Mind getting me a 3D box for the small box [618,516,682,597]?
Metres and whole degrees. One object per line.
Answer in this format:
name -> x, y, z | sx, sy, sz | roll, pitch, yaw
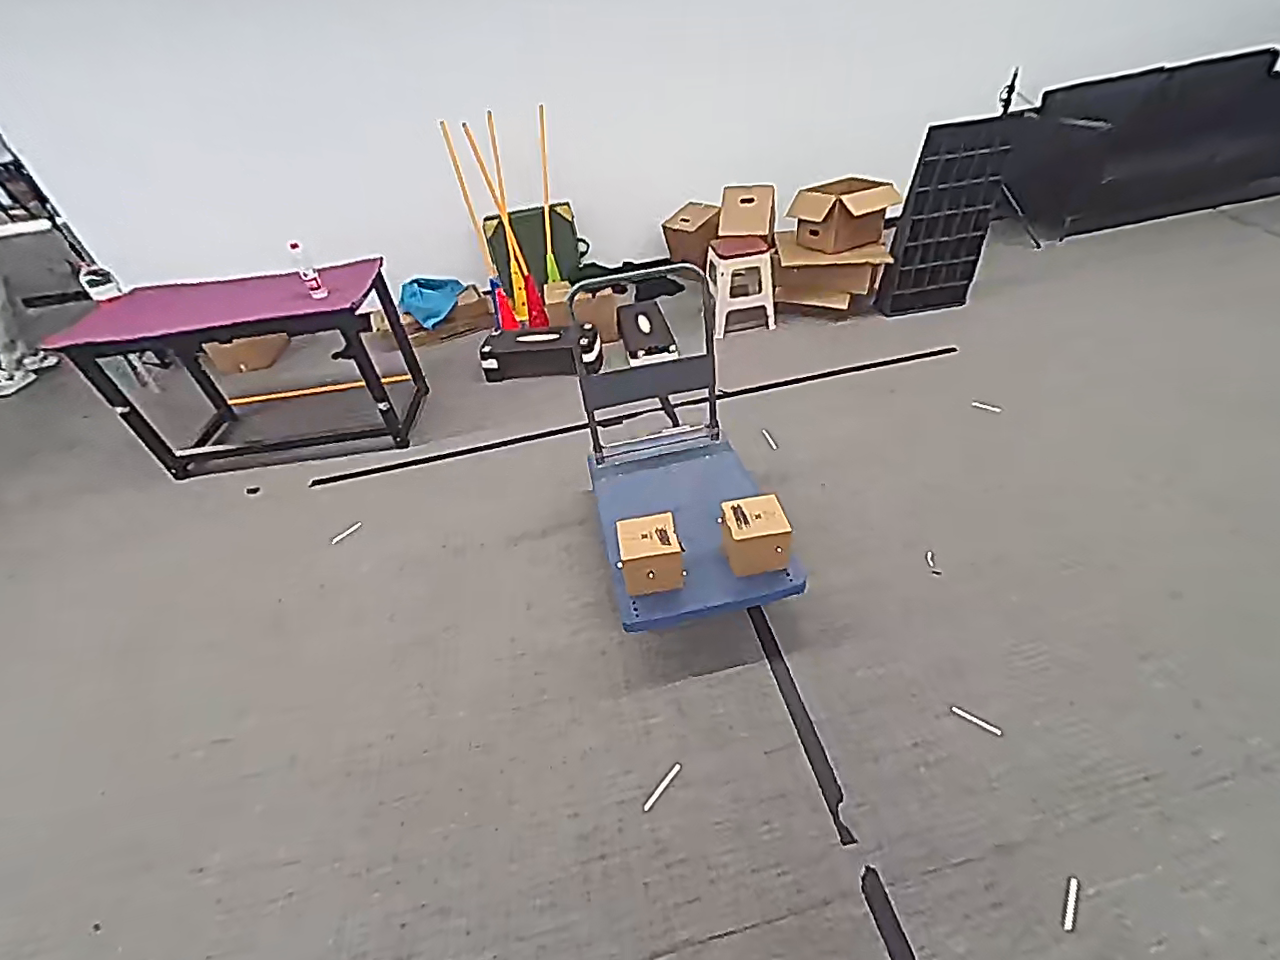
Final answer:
small box -> 0.033, 0.237, 1.657 | 0.179, 0.176, 0.168 | -10, 40, -1
